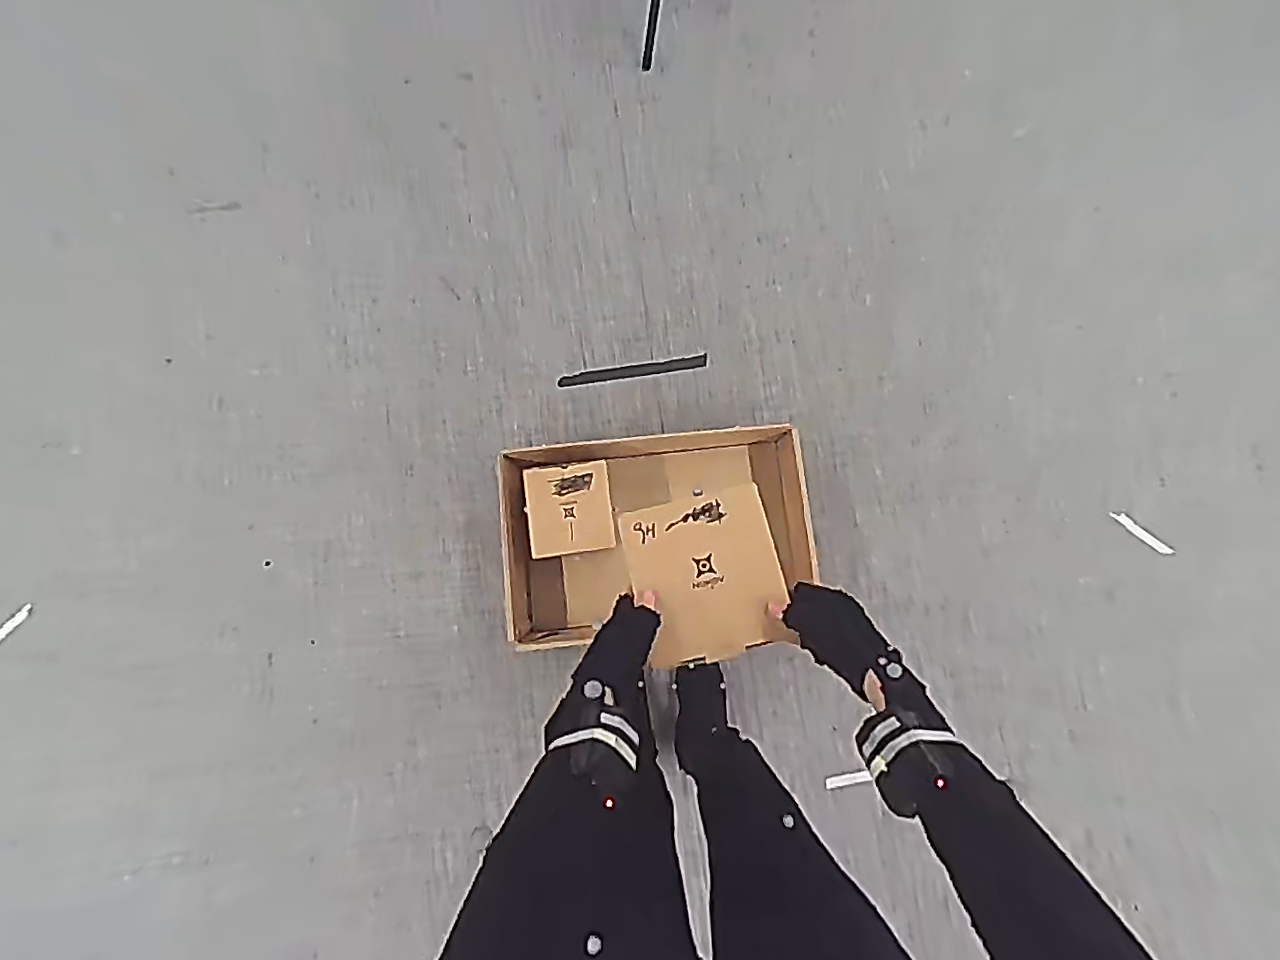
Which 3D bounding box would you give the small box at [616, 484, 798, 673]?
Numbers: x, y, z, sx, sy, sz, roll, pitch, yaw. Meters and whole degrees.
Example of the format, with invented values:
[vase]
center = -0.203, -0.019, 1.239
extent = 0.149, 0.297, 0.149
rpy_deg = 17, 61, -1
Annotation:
[small box]
center = 0.074, 0.118, 0.663
extent = 0.168, 0.176, 0.179
rpy_deg = -14, 78, -1
